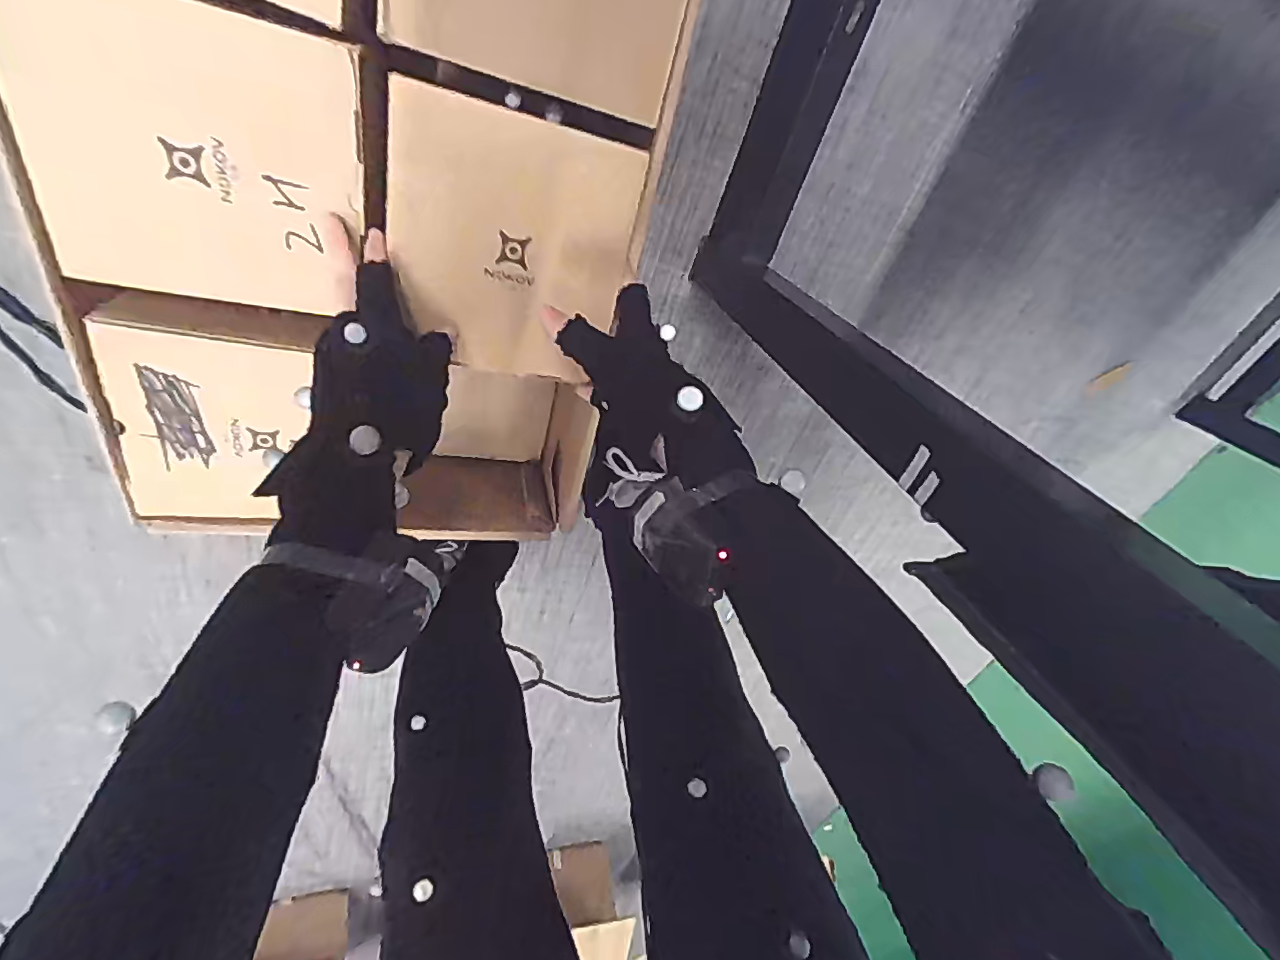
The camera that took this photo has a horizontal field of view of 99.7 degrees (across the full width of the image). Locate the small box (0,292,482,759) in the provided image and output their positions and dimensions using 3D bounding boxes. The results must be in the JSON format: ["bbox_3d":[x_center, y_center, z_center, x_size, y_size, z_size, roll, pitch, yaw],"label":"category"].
[{"bbox_3d":[-0.211,0.024,0.303,0.176,0.179,0.168,9,129,-36],"label":"small box"}]
